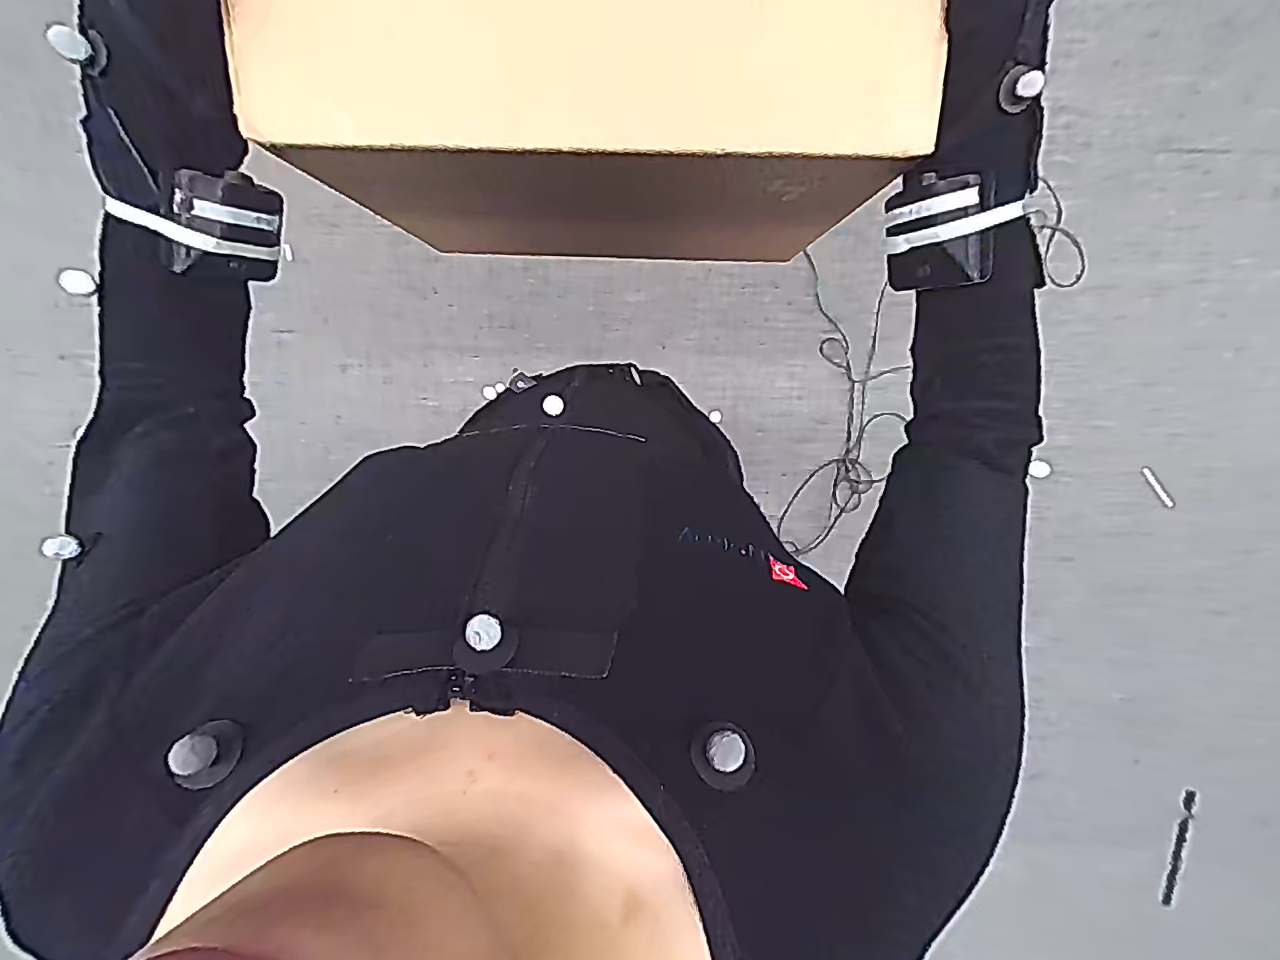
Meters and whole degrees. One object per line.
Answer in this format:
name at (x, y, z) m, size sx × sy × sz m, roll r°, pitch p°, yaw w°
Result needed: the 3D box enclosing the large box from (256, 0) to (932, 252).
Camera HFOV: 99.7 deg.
large box at (-0.027, -0.385, 0.448) m, size 0.408 × 0.320 × 0.320 m, roll 1°, pitch 102°, yaw -1°
